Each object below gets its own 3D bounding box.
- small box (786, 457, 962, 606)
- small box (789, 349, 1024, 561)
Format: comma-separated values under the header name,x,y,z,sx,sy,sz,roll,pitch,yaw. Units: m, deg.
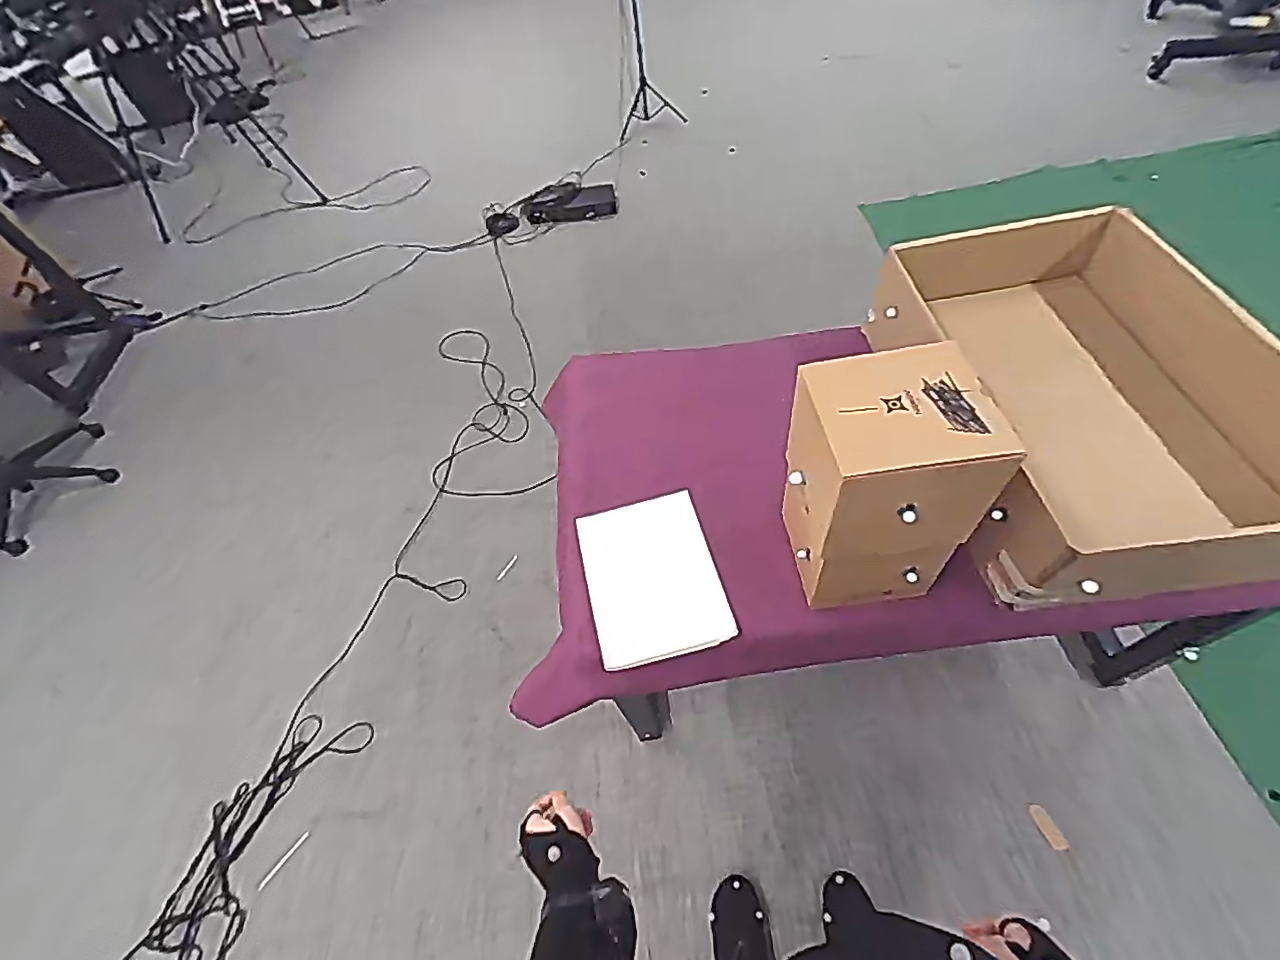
name,x,y,z,sx,sy,sz,roll,pitch,yaw
small box,0.310,0.065,0.759,0.168,0.176,0.179,-8,52,3
small box,0.282,-0.024,0.623,0.179,0.176,0.168,-8,52,4
